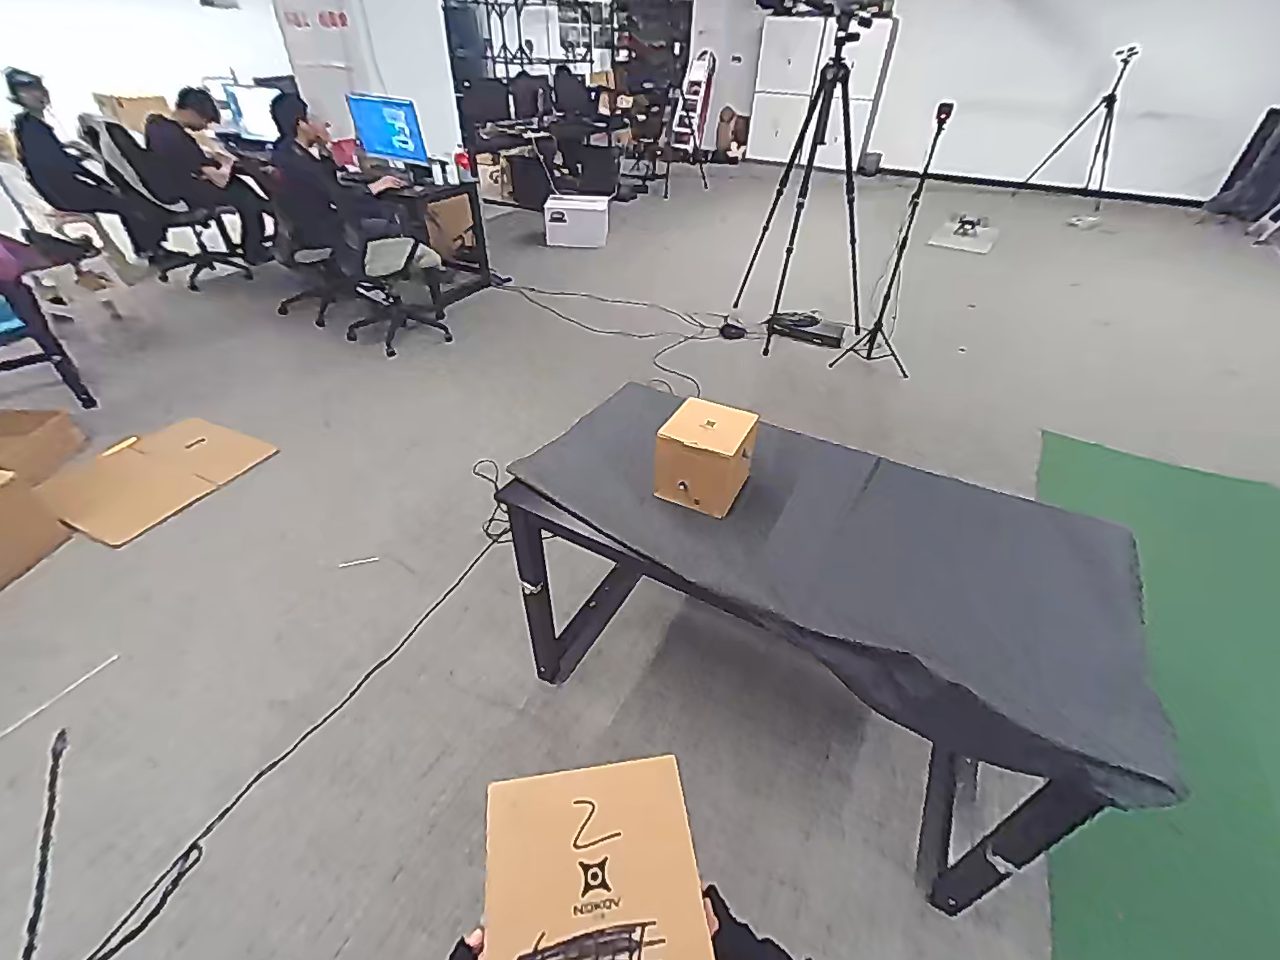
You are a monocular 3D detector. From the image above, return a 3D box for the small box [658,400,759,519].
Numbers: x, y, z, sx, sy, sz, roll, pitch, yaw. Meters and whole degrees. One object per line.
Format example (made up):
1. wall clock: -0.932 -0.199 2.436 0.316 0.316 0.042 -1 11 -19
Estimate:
1. small box: 0.146 -0.046 1.192 0.168 0.176 0.179 20 43 20
